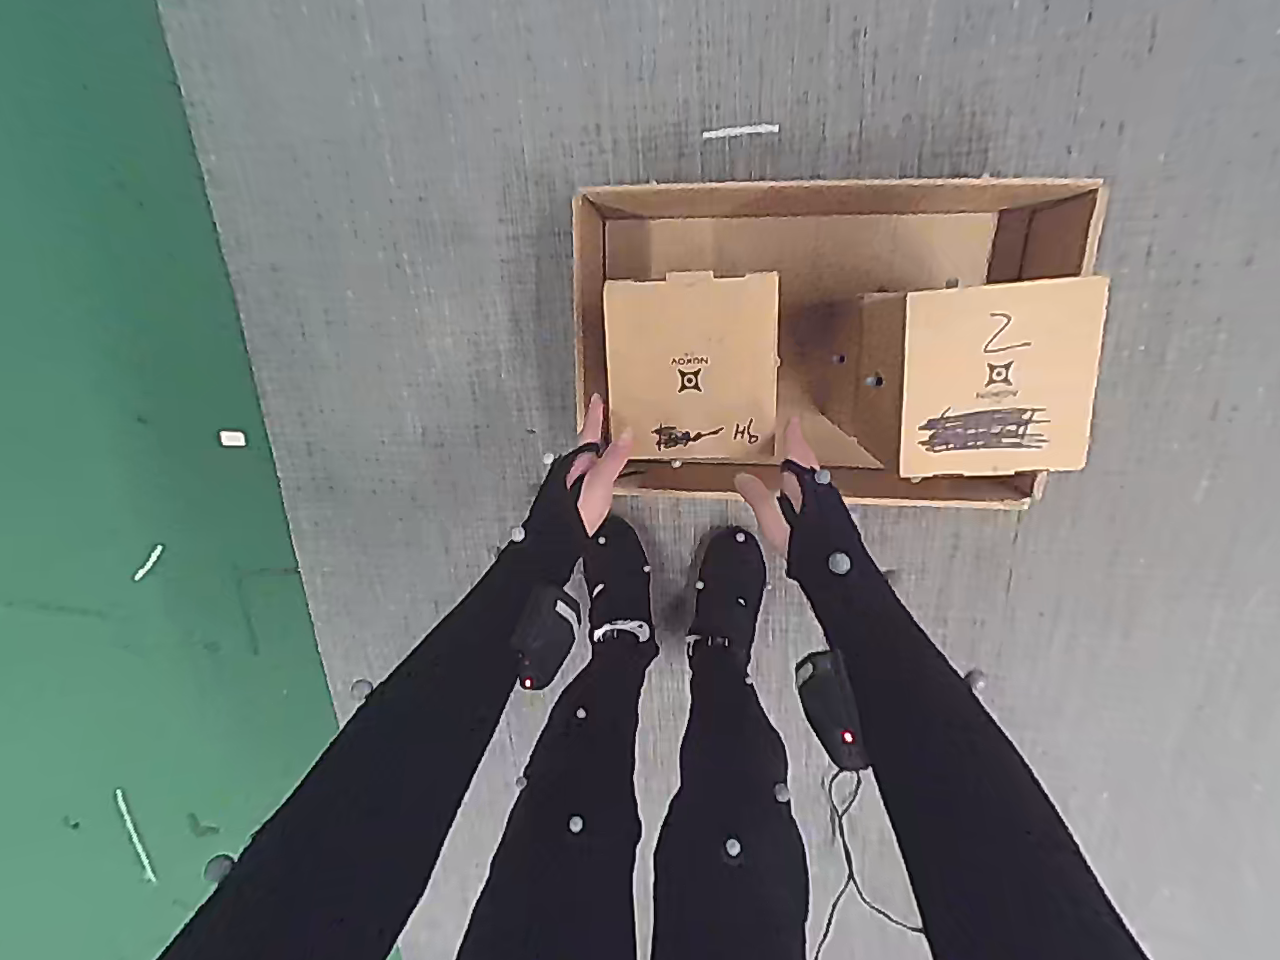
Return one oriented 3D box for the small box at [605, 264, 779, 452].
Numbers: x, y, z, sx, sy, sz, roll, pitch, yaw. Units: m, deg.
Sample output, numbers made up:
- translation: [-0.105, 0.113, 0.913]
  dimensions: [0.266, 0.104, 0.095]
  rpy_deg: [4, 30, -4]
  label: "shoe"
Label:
- translation: [0.058, -0.131, 0.598]
  dimensions: [0.168, 0.176, 0.179]
  rpy_deg: [0, 104, 8]
  label: "small box"
